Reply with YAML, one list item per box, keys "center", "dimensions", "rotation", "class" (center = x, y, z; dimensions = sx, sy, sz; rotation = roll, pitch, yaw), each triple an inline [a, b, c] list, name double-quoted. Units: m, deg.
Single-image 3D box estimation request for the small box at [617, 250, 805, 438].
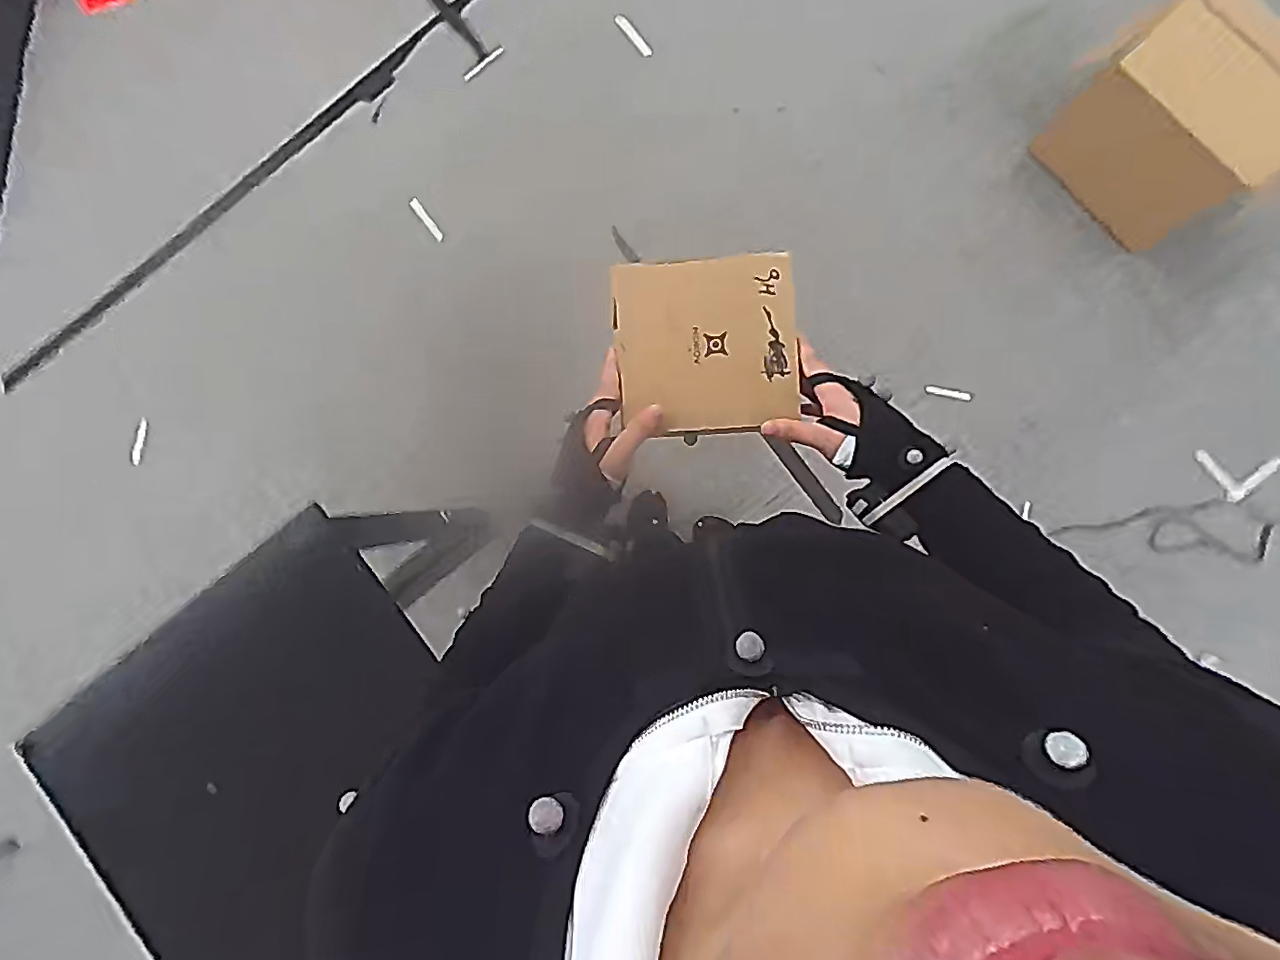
- center: [0.071, -0.134, 0.591]
  dimensions: [0.179, 0.176, 0.168]
  rotation: [-2, 91, 2]
  class: "small box"
